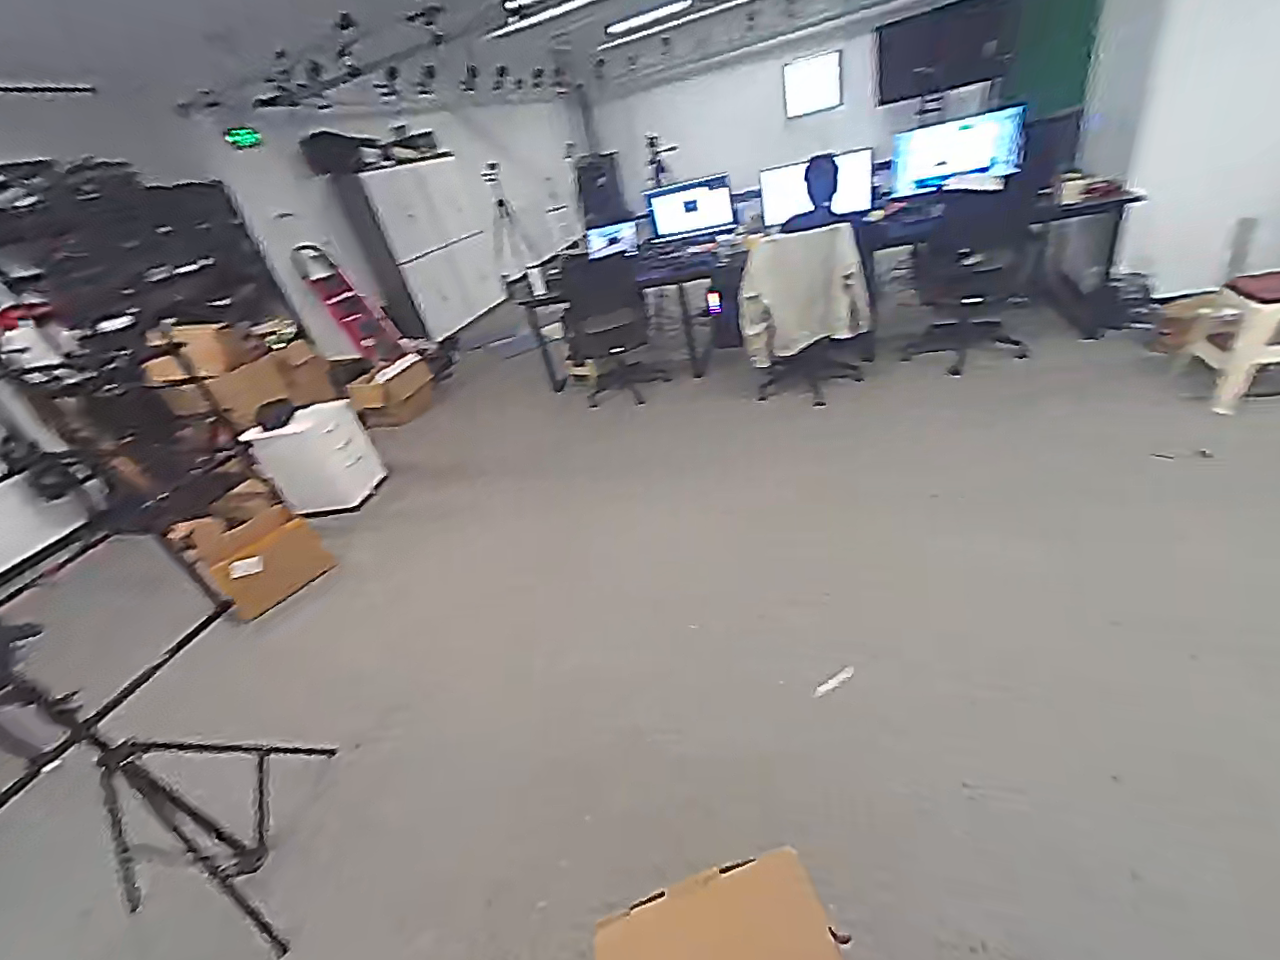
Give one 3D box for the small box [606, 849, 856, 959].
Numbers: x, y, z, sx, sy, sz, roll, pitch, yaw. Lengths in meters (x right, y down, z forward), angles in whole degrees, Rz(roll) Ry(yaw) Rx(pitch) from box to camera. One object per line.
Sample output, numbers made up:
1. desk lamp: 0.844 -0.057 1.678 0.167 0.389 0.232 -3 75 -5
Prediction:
1. small box: 0.087 0.406 0.376 0.168 0.176 0.179 -21 36 2
